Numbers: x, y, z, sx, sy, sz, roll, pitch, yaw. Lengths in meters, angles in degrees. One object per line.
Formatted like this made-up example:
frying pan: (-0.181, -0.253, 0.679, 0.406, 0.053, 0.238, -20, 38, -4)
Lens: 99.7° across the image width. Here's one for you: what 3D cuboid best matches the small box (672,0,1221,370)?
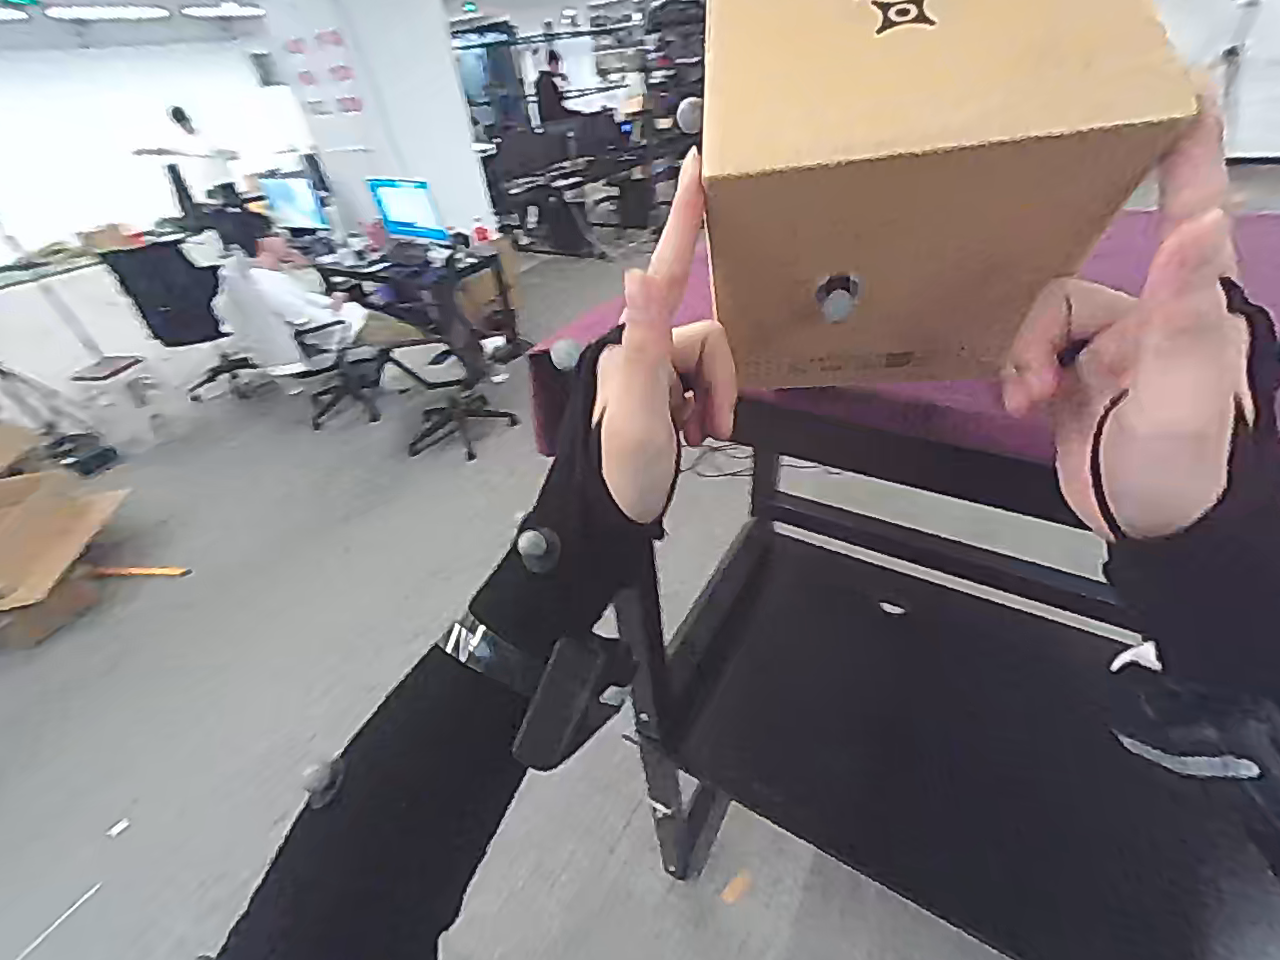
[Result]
small box: (0.115, -0.168, 0.276, 0.168, 0.176, 0.179, 1, 70, 13)
